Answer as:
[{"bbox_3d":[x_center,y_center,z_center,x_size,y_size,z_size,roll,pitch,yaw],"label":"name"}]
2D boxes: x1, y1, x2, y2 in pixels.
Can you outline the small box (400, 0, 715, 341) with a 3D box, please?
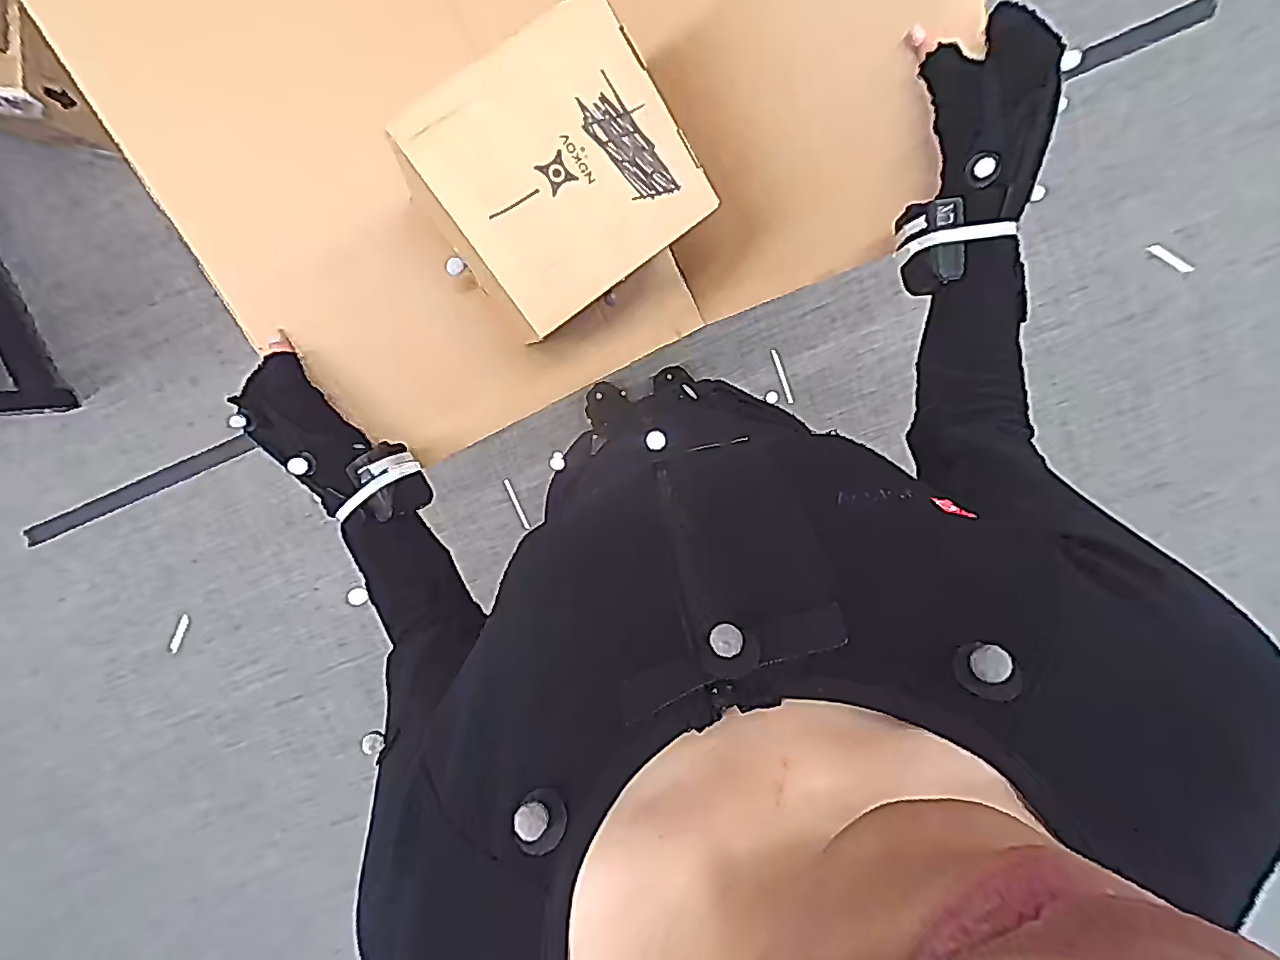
[{"bbox_3d":[-0.073,-0.238,0.465,0.179,0.176,0.168,-38,109,-5],"label":"small box"}]
